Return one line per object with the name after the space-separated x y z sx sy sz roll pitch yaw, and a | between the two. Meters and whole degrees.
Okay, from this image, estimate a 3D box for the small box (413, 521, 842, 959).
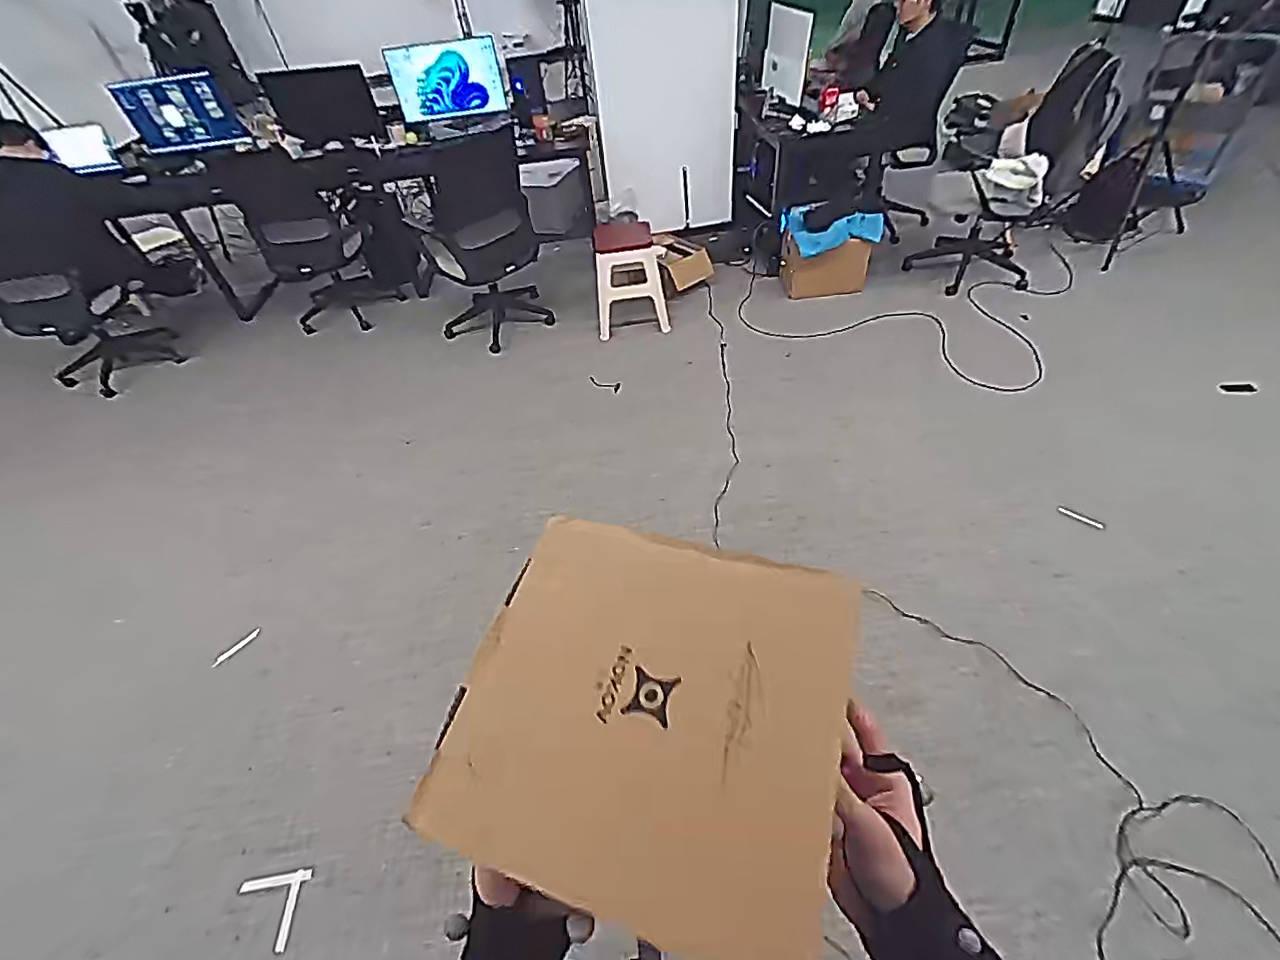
0.012 0.149 0.326 0.179 0.176 0.168 9 56 18 | small box
